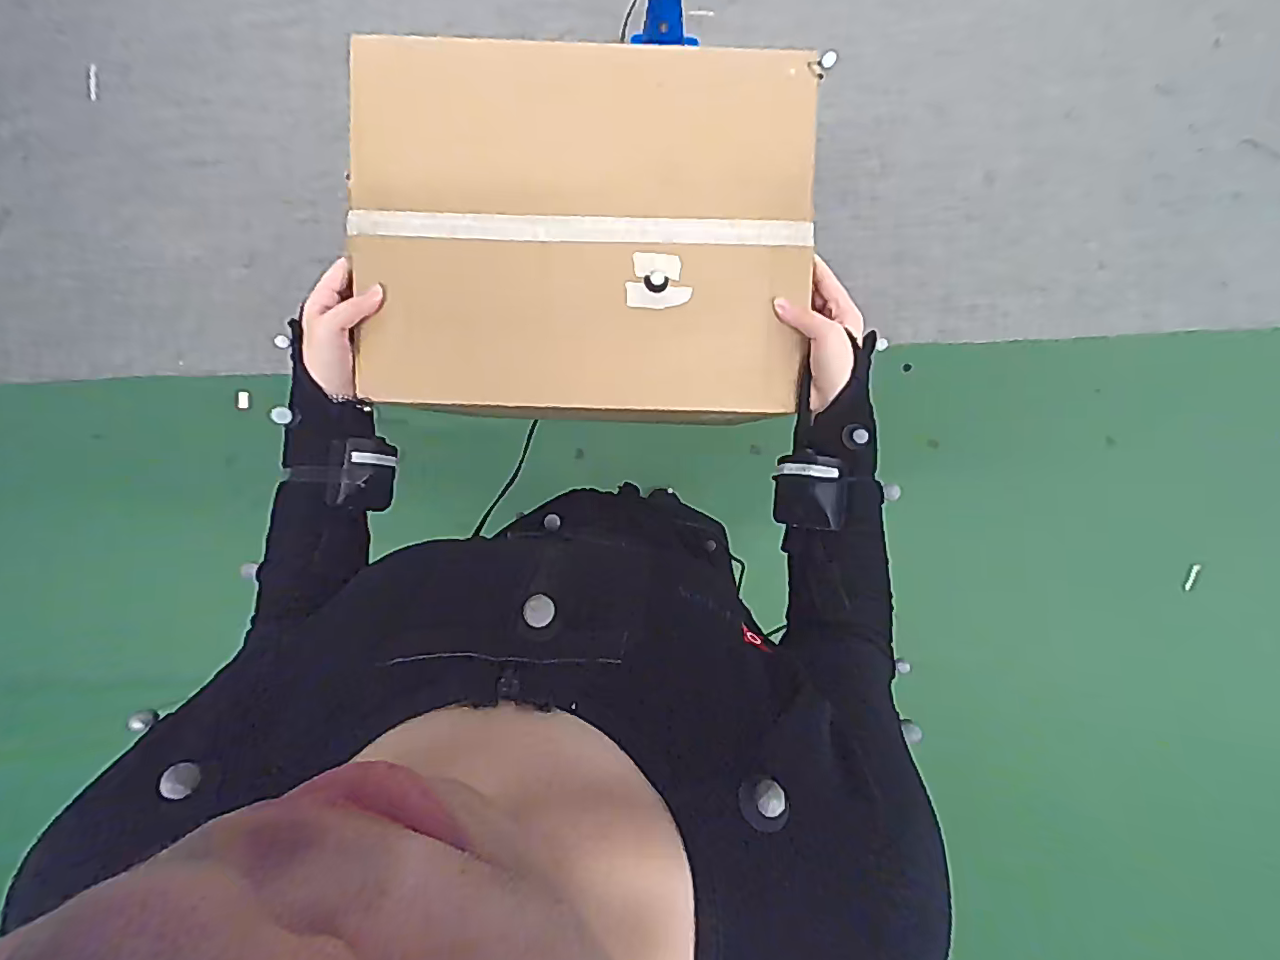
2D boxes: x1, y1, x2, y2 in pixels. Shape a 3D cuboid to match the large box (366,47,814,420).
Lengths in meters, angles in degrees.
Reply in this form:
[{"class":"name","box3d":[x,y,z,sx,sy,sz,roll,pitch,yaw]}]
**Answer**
[{"class":"large box","box3d":[-0.050,-0.233,0.635,0.408,0.320,0.320,1,94,-2]}]
